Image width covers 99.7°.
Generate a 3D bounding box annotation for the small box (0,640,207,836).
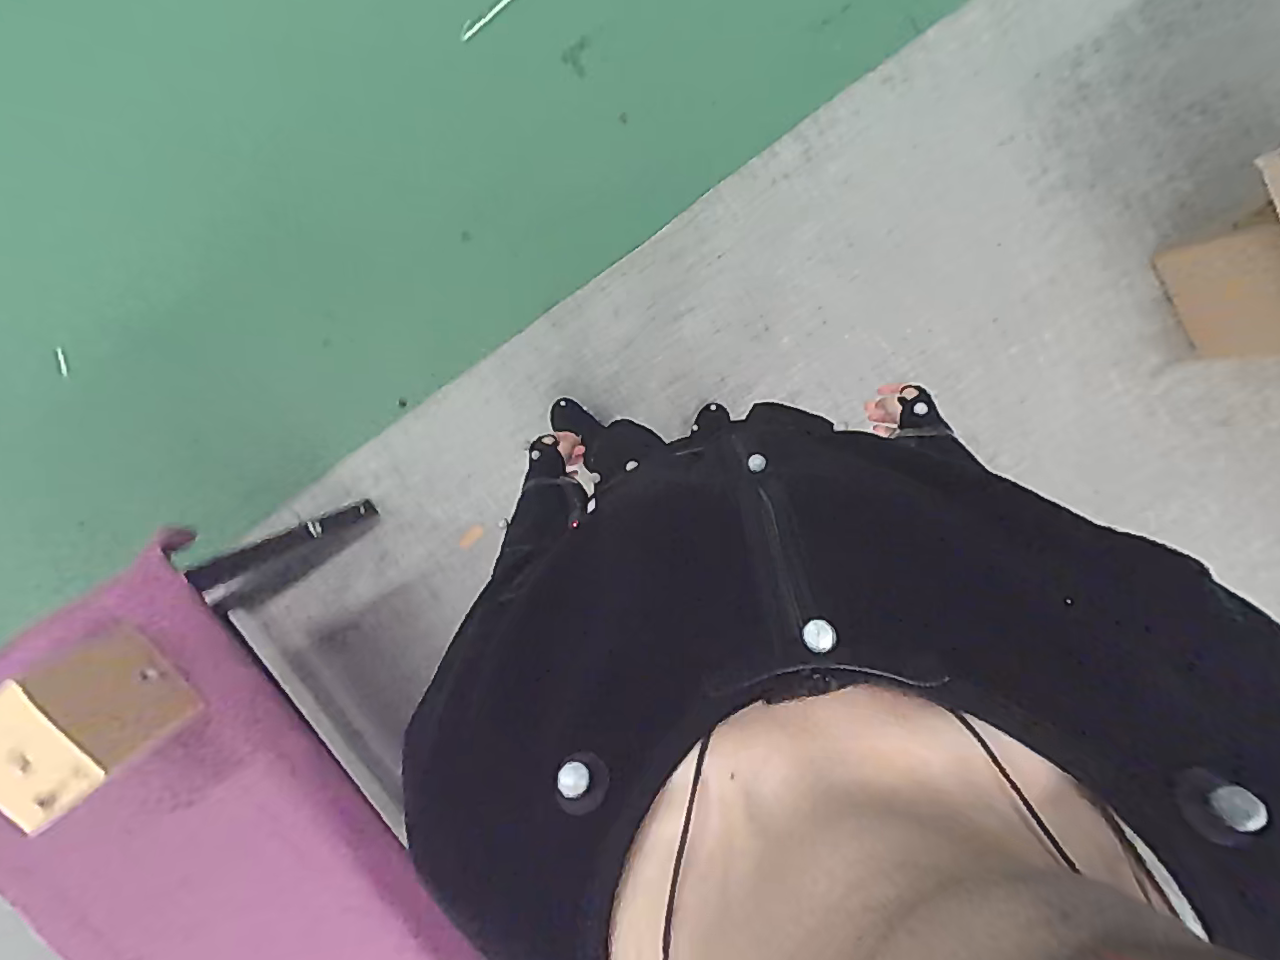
[{"bbox_3d":[-0.818,0.364,0.804,0.168,0.176,0.179,-36,96,9],"label":"small box"}]
